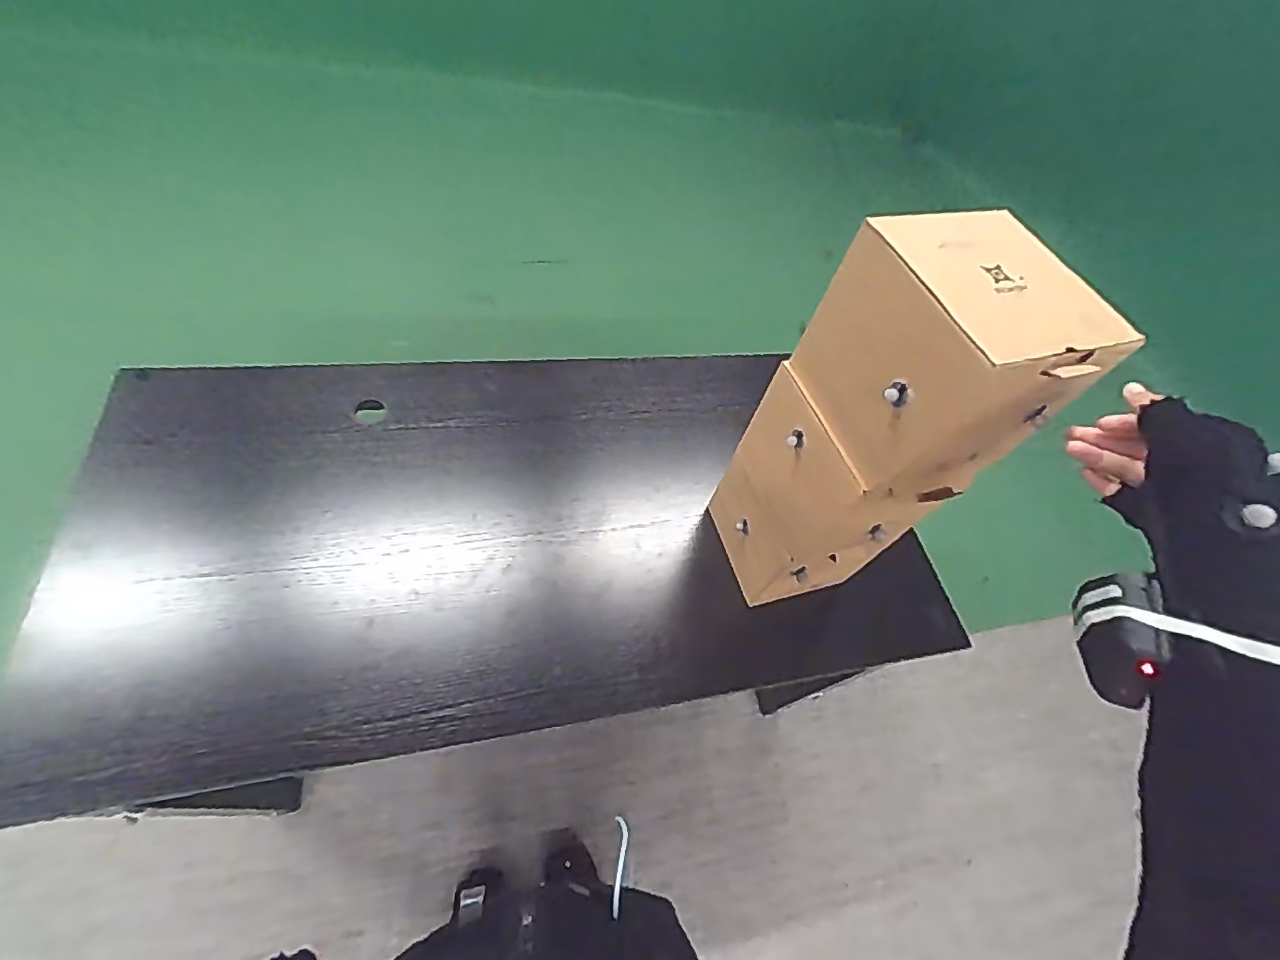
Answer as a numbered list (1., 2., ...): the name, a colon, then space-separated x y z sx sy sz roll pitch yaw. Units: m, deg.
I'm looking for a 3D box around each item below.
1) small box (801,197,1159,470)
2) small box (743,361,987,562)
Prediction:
1. small box: 0.280 -0.125 0.492 0.168 0.176 0.179 -12 60 -18
2. small box: 0.244 -0.028 0.639 0.168 0.176 0.179 -12 61 -17
